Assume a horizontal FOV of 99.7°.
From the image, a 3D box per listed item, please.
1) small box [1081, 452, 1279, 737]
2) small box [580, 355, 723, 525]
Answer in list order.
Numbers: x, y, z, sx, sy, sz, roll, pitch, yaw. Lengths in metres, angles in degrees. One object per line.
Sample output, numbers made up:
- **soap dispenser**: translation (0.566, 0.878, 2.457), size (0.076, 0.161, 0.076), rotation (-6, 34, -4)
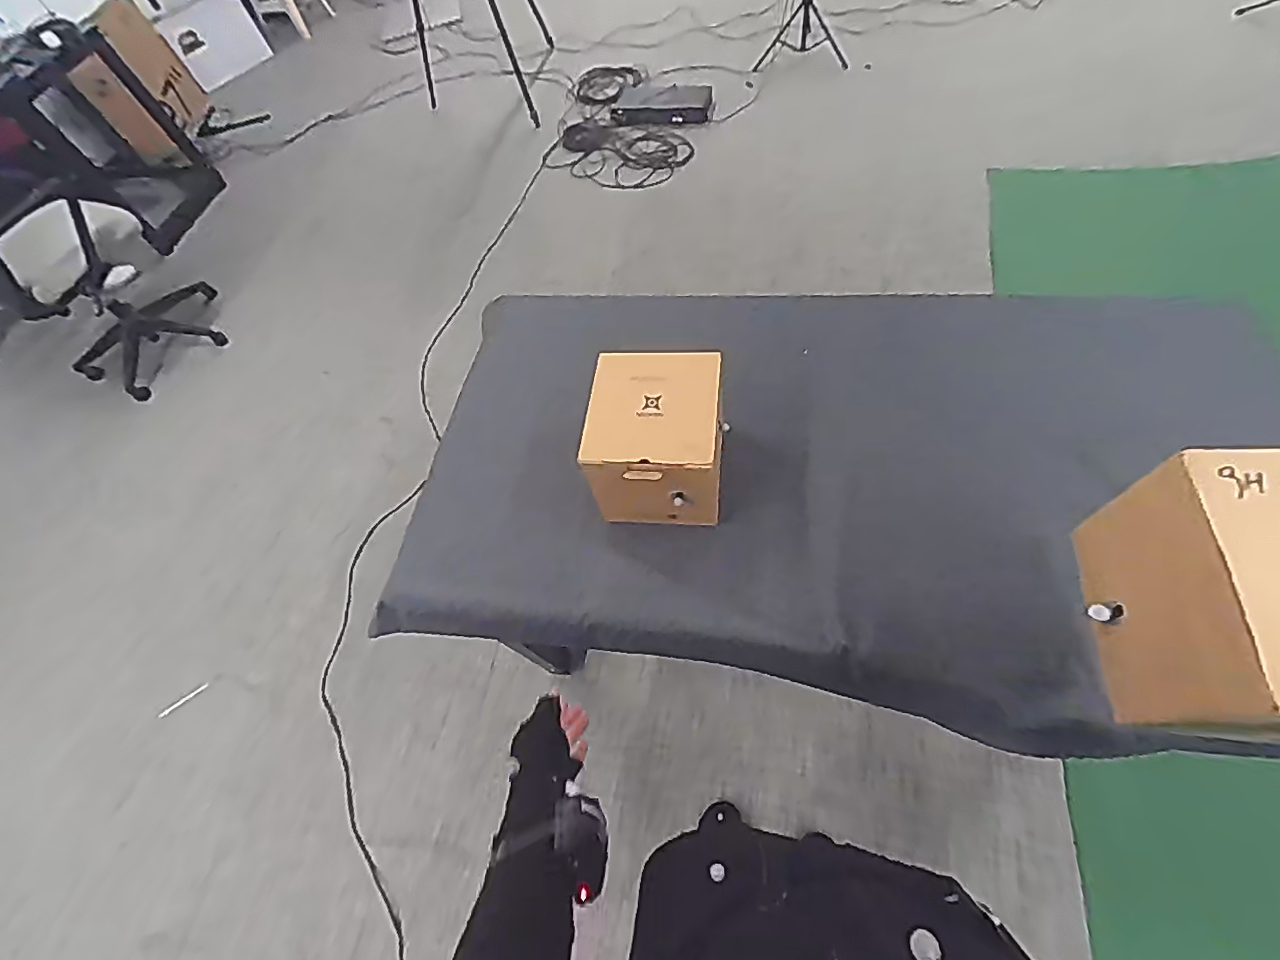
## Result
- **small box**: translation (0.473, 0.093, 0.397), size (0.168, 0.176, 0.179), rotation (0, 64, 13)
- **small box**: translation (0.027, -0.050, 0.744), size (0.168, 0.176, 0.179), rotation (2, 60, 10)
